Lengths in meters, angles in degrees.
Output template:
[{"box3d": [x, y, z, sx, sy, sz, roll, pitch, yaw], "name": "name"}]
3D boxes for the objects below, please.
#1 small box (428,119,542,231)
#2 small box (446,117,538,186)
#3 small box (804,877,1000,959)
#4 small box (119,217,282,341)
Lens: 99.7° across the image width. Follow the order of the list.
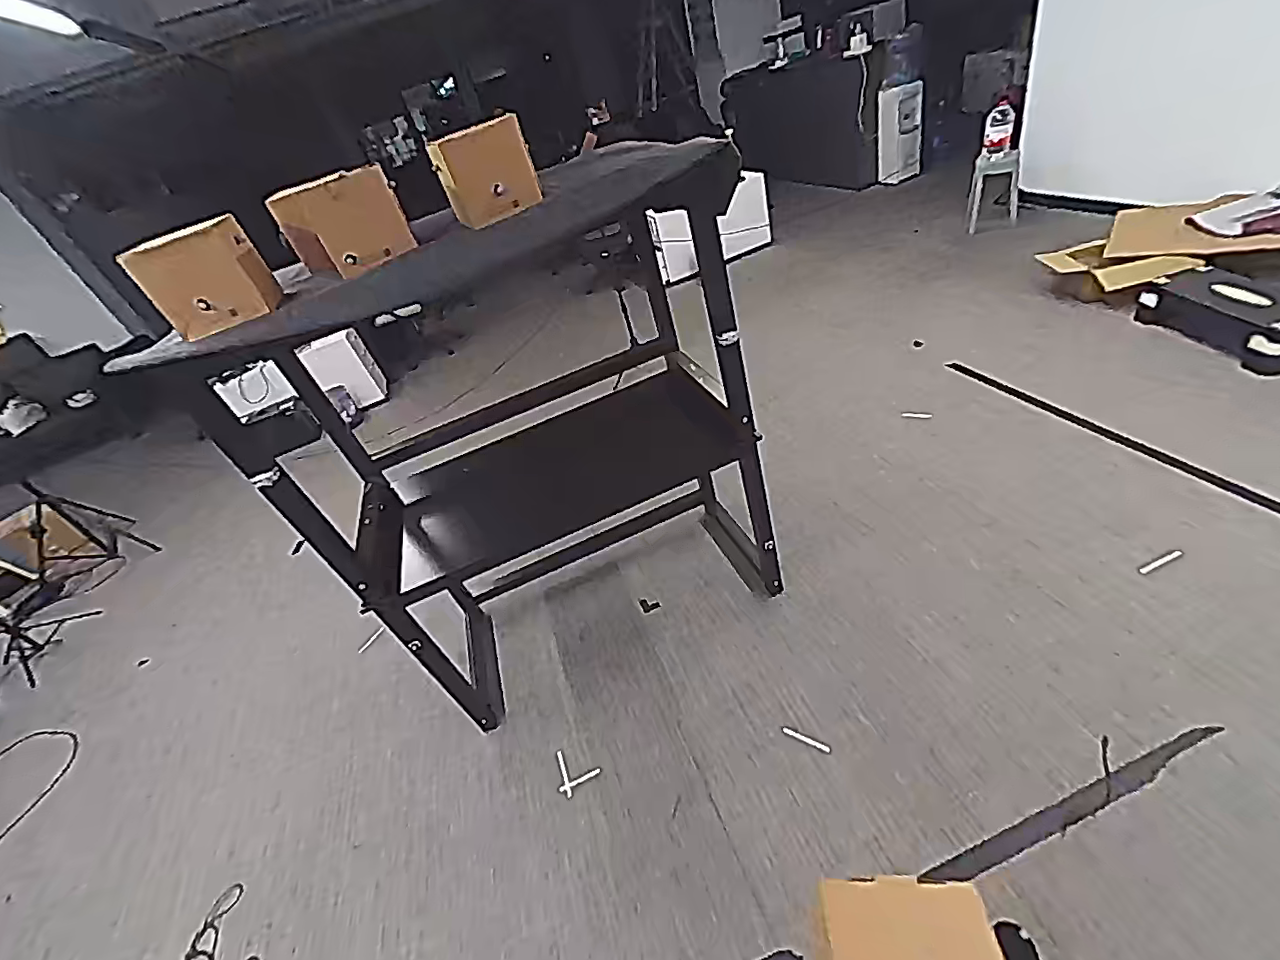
[{"box3d": [-0.337, -0.661, 1.179, 0.168, 0.176, 0.179, -29, 38, -12], "name": "small box"}, {"box3d": [-0.367, -0.789, 1.355, 0.179, 0.176, 0.168, -22, 36, -5], "name": "small box"}, {"box3d": [0.274, 0.548, 0.561, 0.168, 0.176, 0.179, -3, 36, 5], "name": "small box"}, {"box3d": [-0.839, -0.393, 1.059, 0.168, 0.176, 0.179, -26, 38, -9], "name": "small box"}]
